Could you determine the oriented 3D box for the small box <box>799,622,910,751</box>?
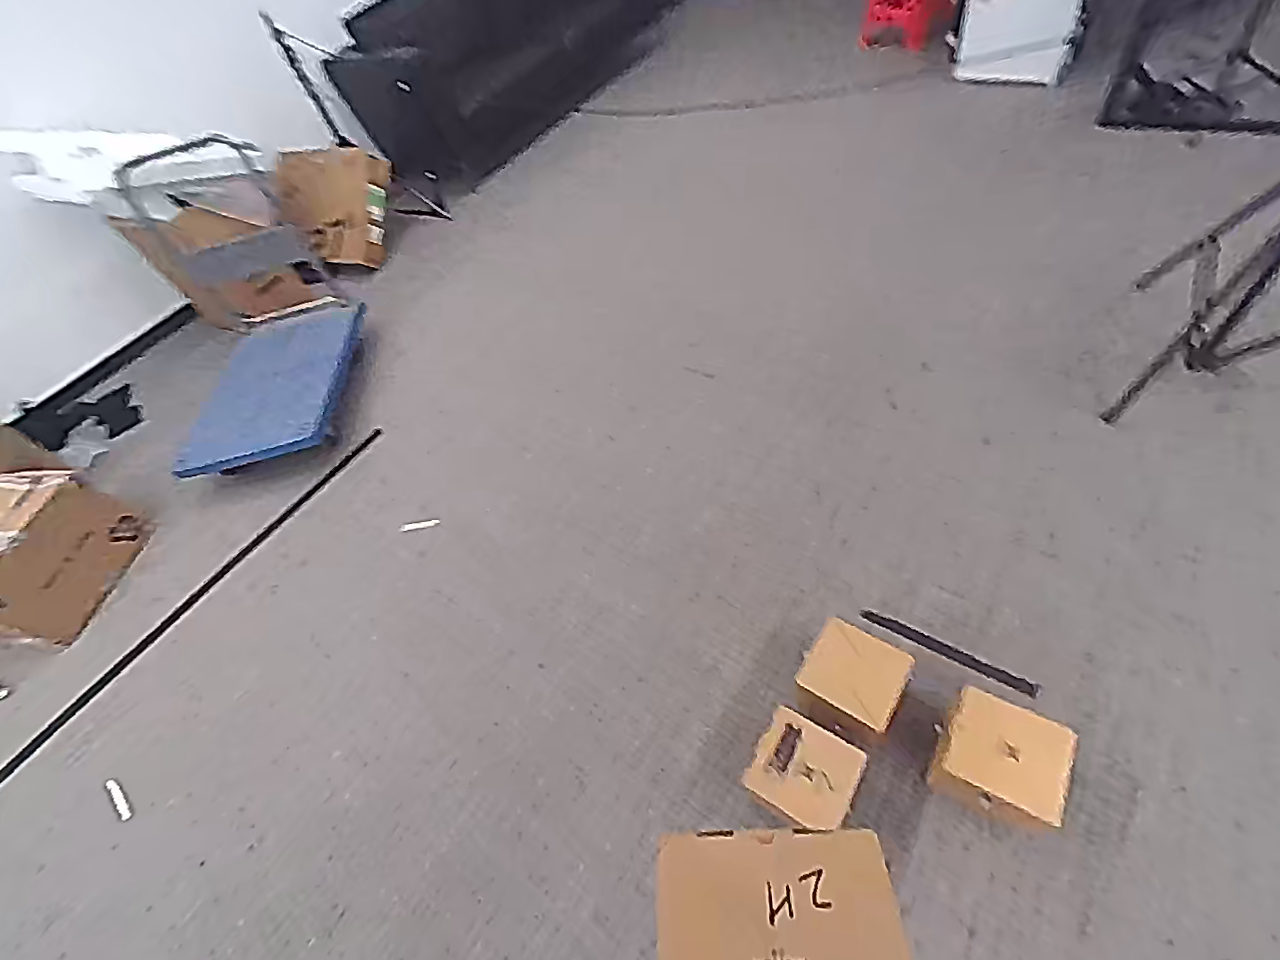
[{"bbox_3d":[0.448,0.431,1.135,0.179,0.176,0.168,26,64,30],"label":"small box"}]

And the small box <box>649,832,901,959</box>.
[{"bbox_3d":[0.099,0.383,0.398,0.168,0.176,0.179,-6,43,6],"label":"small box"}]
